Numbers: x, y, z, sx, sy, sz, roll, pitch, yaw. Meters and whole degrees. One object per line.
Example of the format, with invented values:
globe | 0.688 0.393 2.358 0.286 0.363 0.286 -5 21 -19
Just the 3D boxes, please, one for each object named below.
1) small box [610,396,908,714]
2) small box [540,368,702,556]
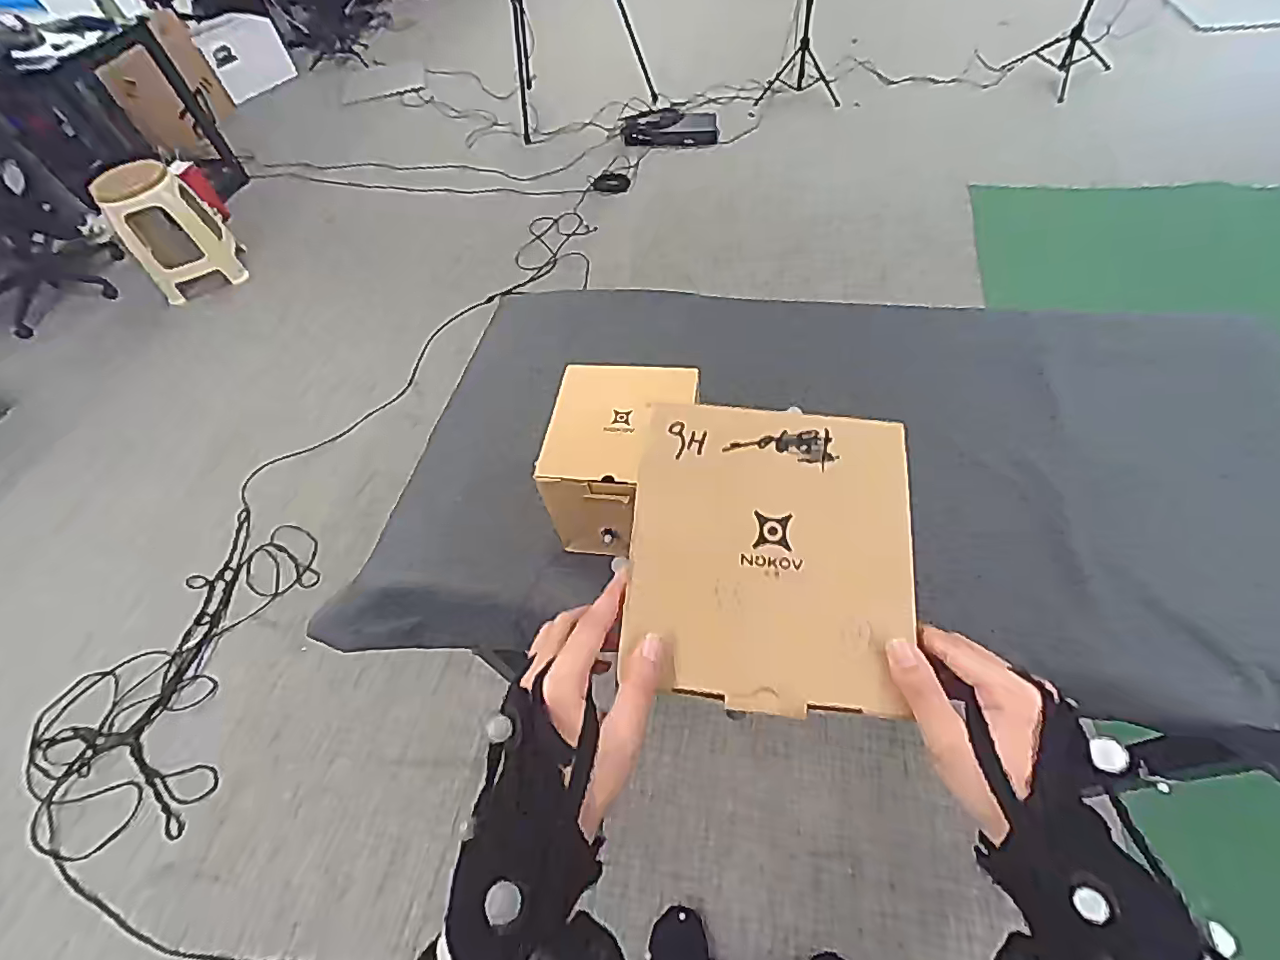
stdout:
small box | 0.074 0.059 0.395 0.168 0.176 0.179 6 73 2
small box | -0.011 -0.018 0.682 0.168 0.176 0.179 3 56 9
